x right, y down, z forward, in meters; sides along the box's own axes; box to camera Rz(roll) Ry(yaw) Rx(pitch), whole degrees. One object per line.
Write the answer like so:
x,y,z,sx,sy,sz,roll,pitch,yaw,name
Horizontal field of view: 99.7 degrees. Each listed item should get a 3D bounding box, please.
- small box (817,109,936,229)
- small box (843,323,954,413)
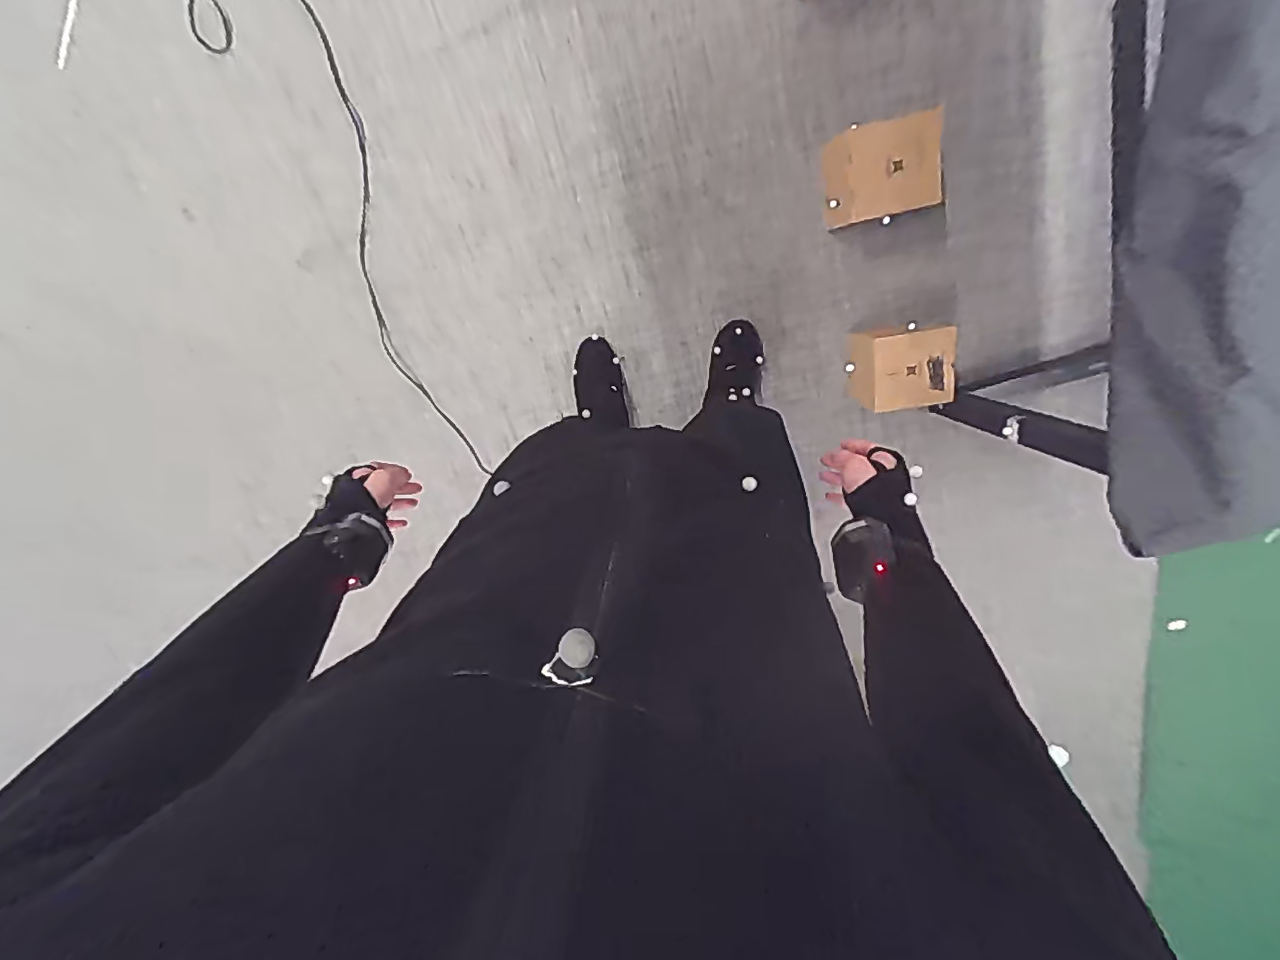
0.479,-0.630,1.119,0.179,0.176,0.168,-13,110,1,small box
0.585,-0.262,1.240,0.179,0.176,0.168,-9,108,3,small box
